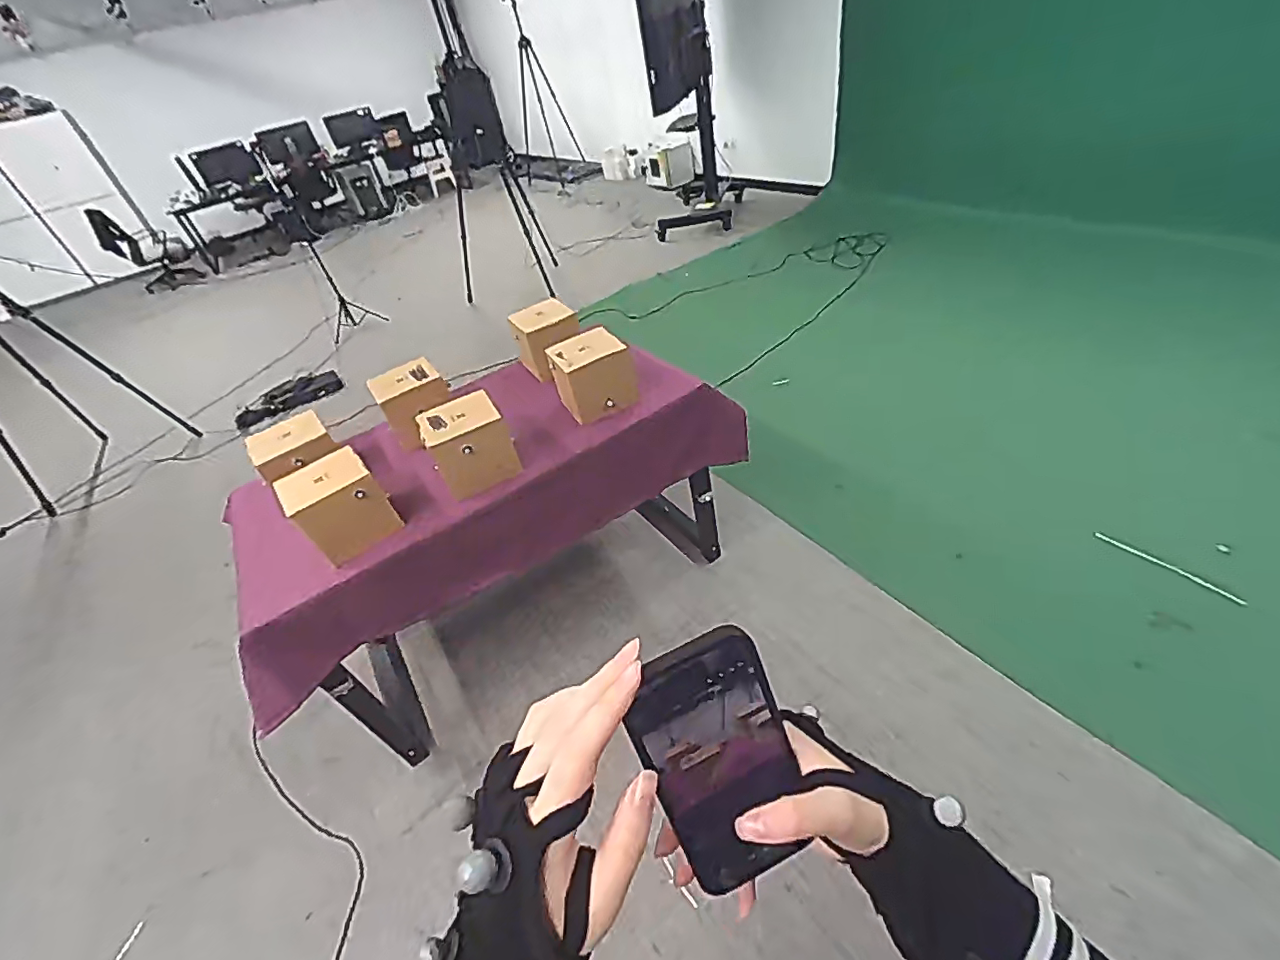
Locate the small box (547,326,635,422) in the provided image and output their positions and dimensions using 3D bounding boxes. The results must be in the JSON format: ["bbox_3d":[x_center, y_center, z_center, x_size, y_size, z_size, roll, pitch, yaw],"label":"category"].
[{"bbox_3d":[-0.125,-0.284,1.453,0.179,0.176,0.168,-25,41,-14],"label":"small box"}]

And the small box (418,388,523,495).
[{"bbox_3d":[-0.408,-0.091,1.311,0.179,0.176,0.168,-26,42,-15],"label":"small box"}]

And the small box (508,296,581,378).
[{"bbox_3d":[-0.284,-0.441,1.674,0.168,0.176,0.179,-28,43,-16],"label":"small box"}]

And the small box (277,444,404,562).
[{"bbox_3d":[-0.671,0.053,1.220,0.179,0.176,0.168,-34,44,-24],"label":"small box"}]
